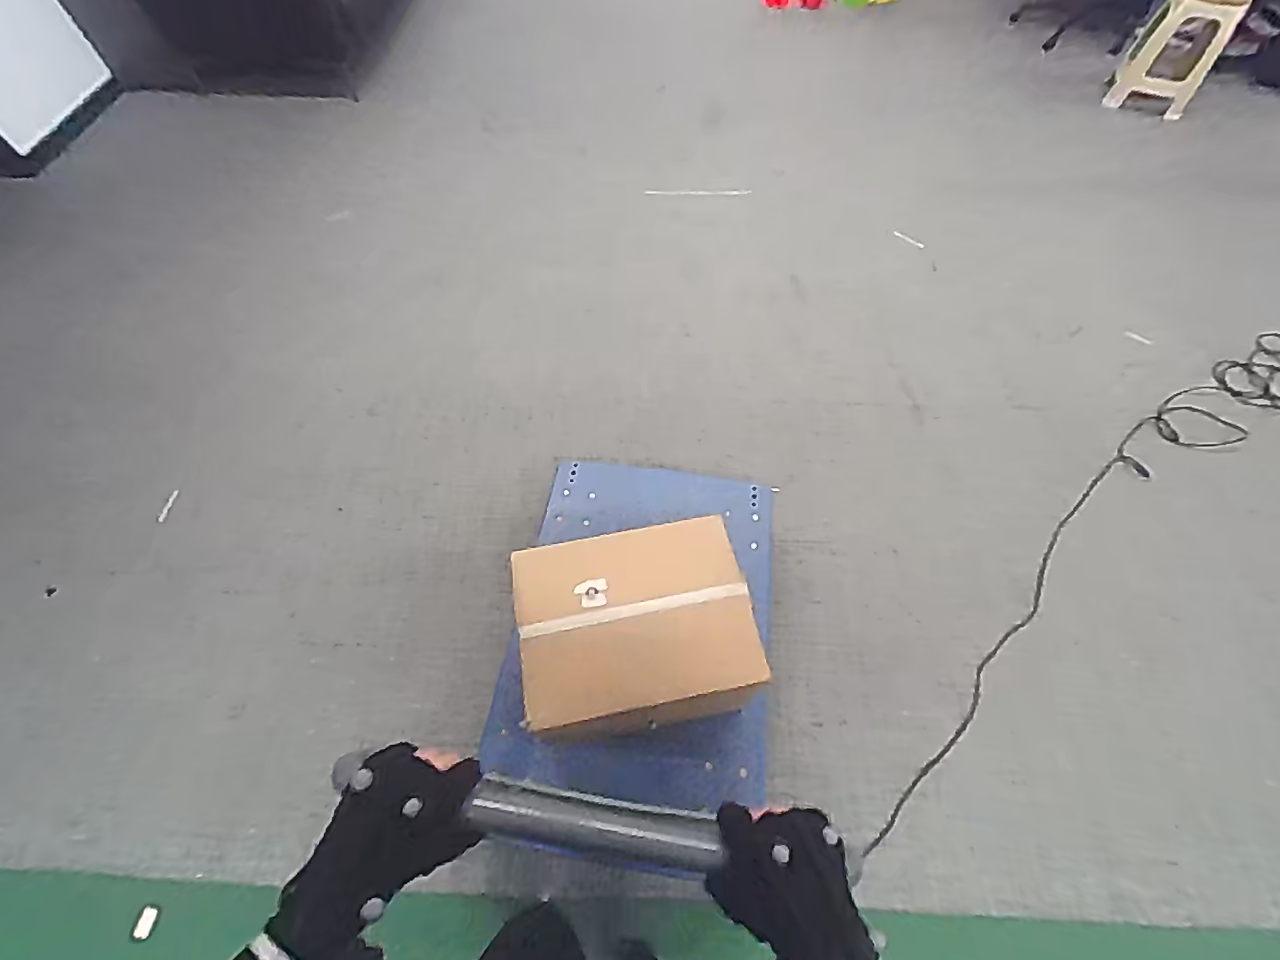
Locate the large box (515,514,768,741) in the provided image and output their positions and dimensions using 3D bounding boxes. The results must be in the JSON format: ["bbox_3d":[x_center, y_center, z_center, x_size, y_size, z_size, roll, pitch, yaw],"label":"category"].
[{"bbox_3d":[-0.007,0.303,1.077,0.408,0.320,0.320,-10,59,-5],"label":"large box"}]
